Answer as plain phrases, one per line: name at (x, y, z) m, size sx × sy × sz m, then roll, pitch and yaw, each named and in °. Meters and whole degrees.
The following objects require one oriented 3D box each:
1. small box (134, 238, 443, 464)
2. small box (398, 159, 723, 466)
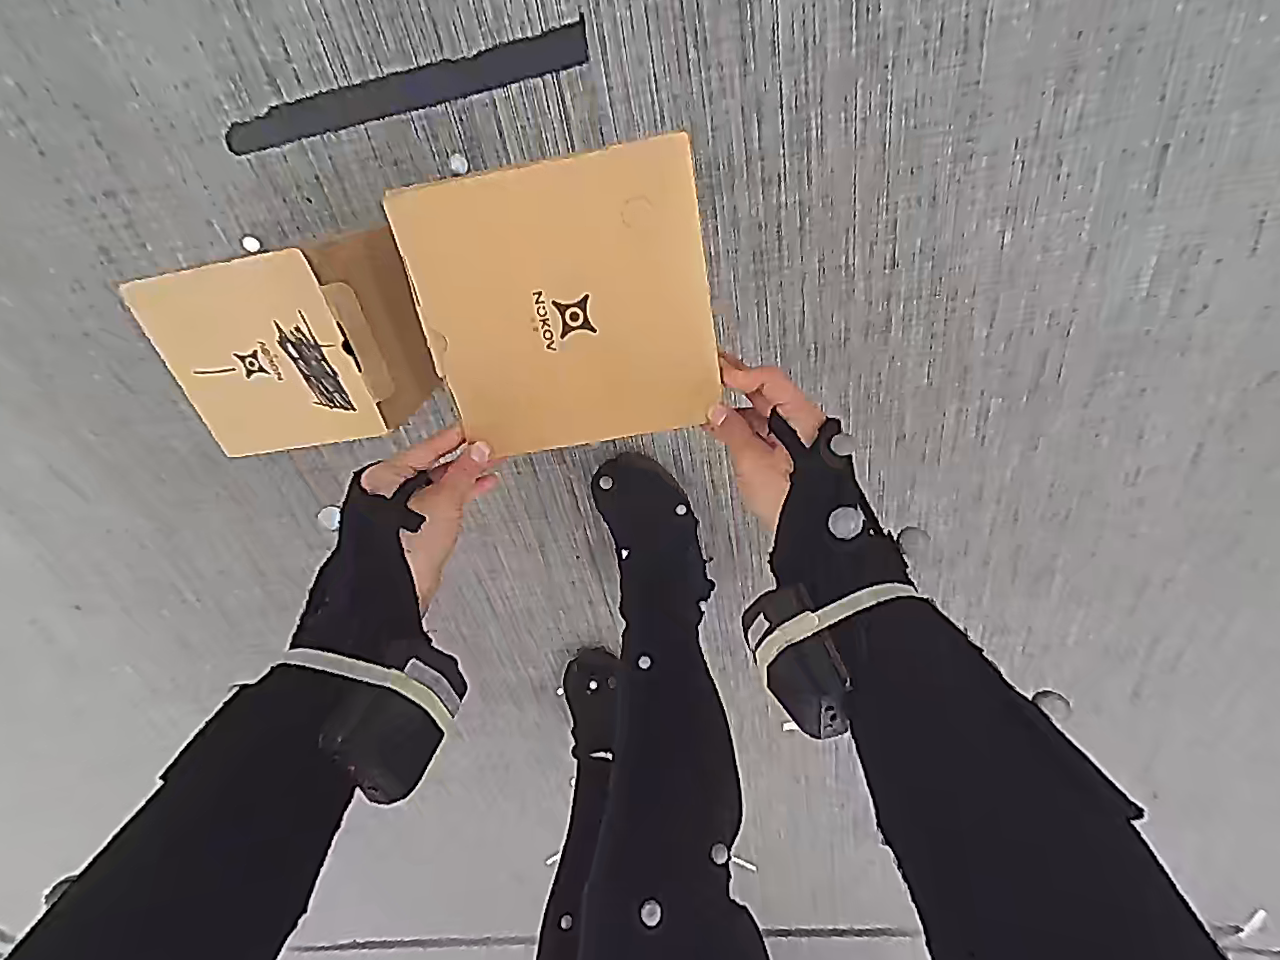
small box at (-0.322, -0.136, 0.547) m, size 0.179 × 0.176 × 0.168 m, roll -7°, pitch 120°, yaw 8°
small box at (-0.041, -0.130, 0.410) m, size 0.179 × 0.176 × 0.168 m, roll -9°, pitch 115°, yaw 6°
